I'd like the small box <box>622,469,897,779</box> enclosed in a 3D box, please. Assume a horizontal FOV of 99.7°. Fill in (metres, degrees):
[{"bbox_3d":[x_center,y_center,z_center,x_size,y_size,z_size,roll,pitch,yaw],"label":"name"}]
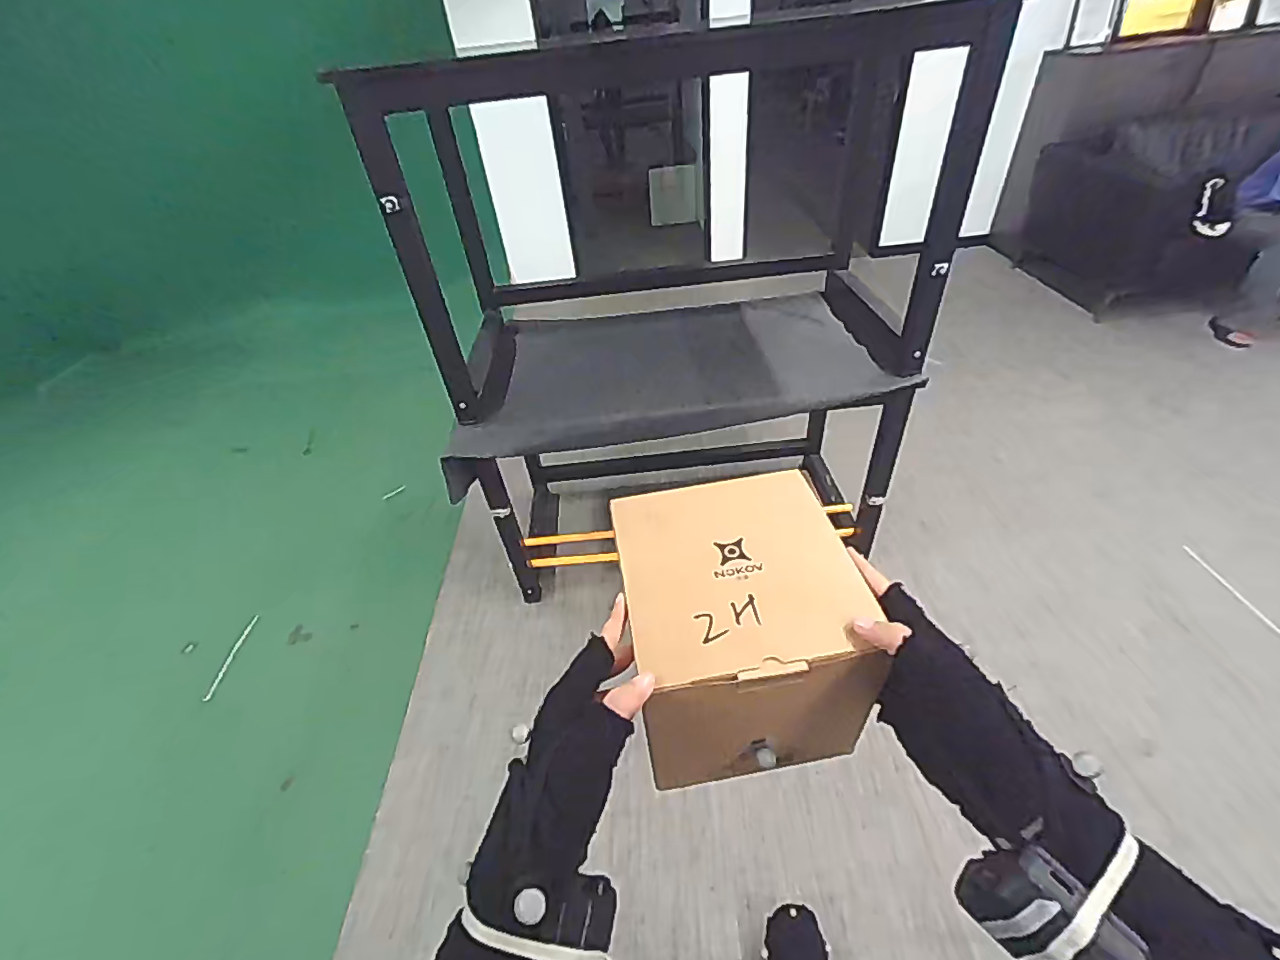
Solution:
[{"bbox_3d":[0.080,0.117,0.456,0.168,0.176,0.179,-9,40,-3],"label":"small box"}]
